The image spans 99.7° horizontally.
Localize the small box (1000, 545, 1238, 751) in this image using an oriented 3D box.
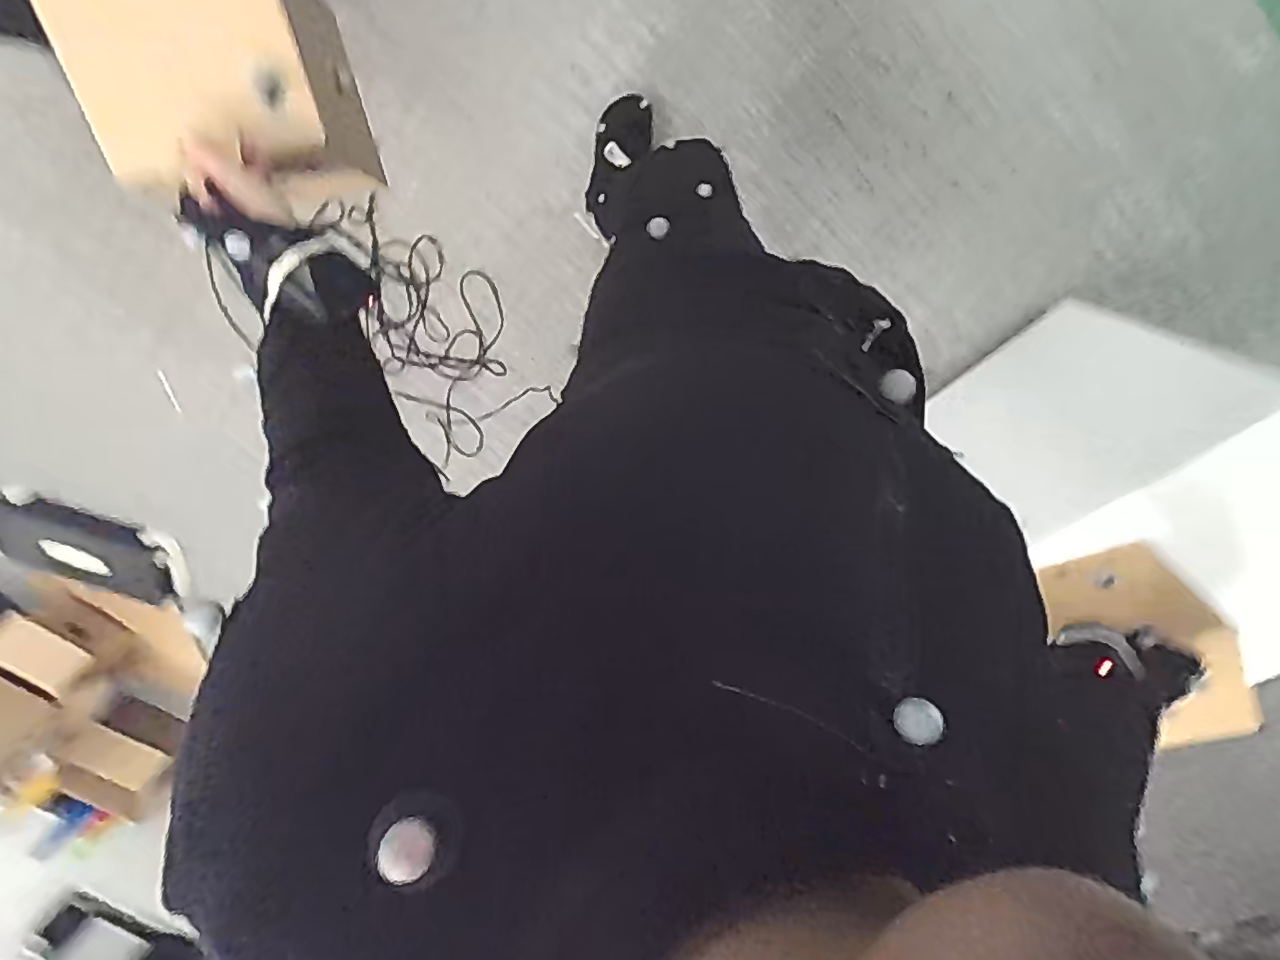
[{"bbox_3d":[0.614,0.217,0.712,0.168,0.176,0.179,-24,112,22],"label":"small box"}]
